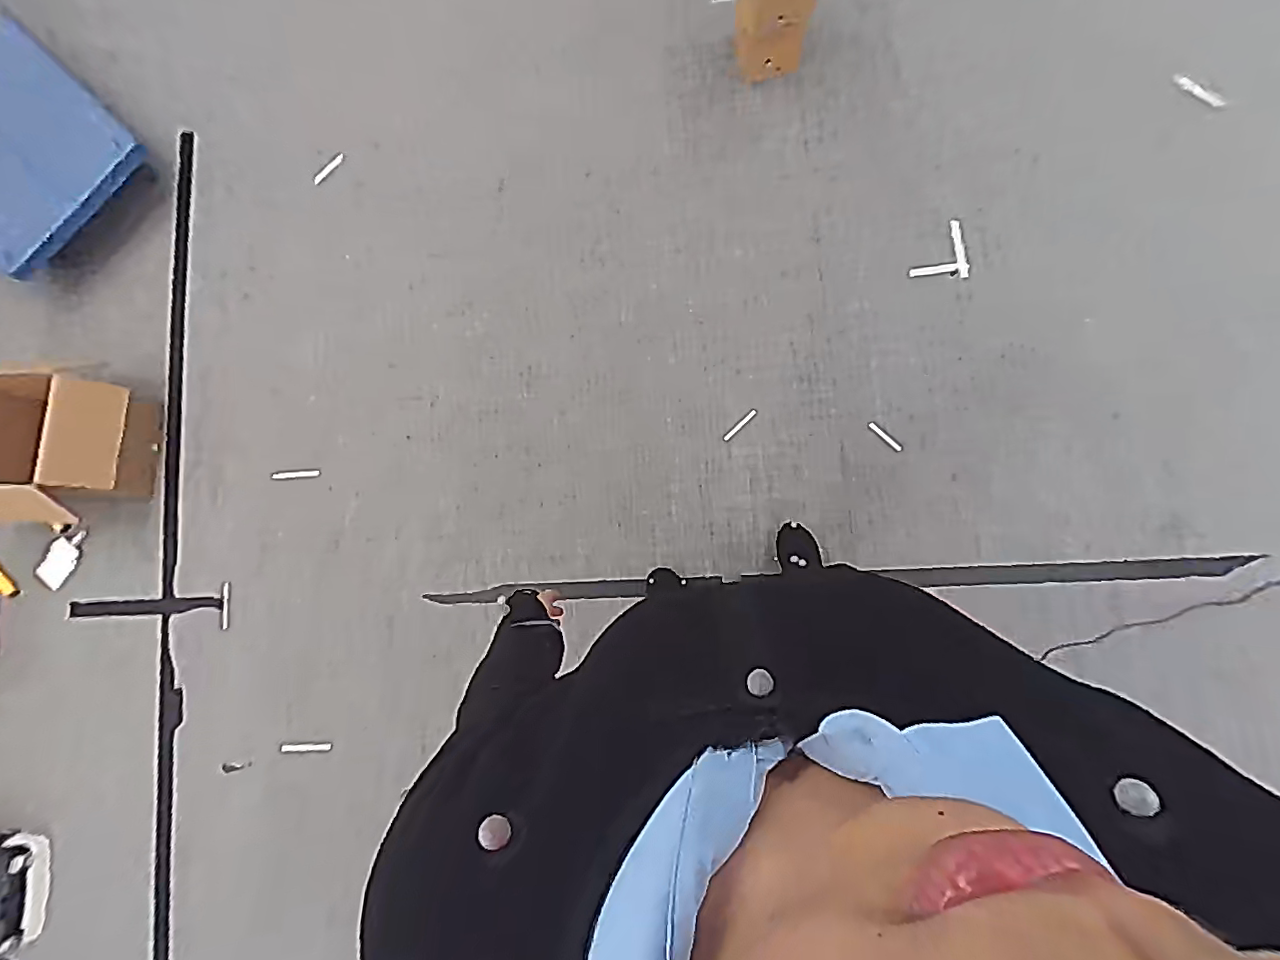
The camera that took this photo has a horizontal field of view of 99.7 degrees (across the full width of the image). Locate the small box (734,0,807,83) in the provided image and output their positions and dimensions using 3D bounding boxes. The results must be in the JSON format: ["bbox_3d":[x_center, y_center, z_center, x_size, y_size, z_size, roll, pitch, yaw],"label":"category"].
[{"bbox_3d":[0.376,-1.323,1.584,0.168,0.176,0.179,-10,83,5],"label":"small box"}]
